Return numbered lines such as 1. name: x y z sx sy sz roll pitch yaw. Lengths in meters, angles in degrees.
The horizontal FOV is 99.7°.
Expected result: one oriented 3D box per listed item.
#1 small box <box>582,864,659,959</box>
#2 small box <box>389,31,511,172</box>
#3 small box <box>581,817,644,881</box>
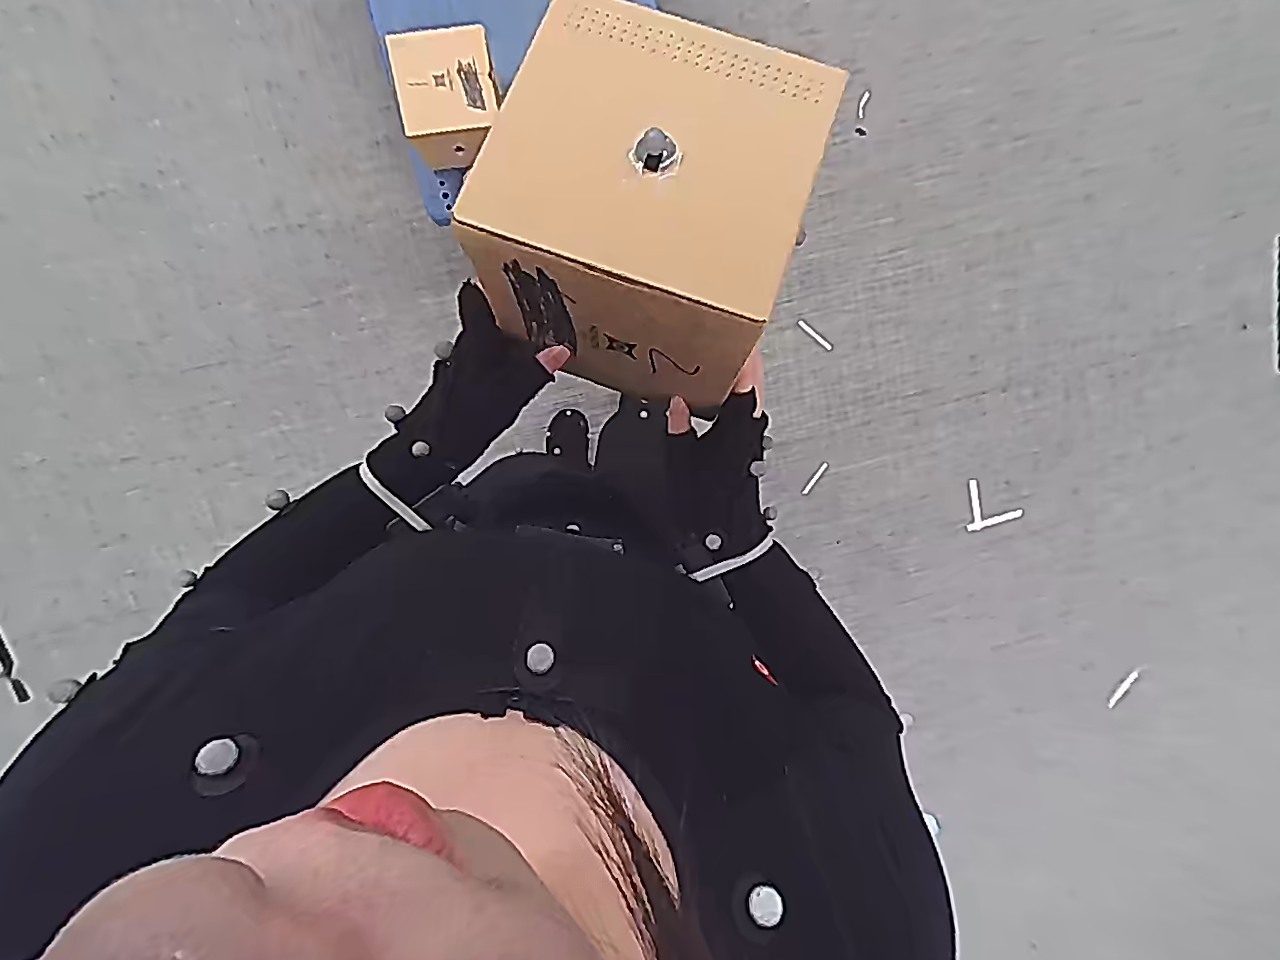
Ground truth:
1. small box: -0.059 1.208 1.490 0.179 0.176 0.168 -16 103 -2
2. small box: -0.353 -0.721 1.047 0.179 0.176 0.168 -9 101 -3
3. small box: -0.081 1.178 1.648 0.168 0.176 0.179 -12 102 -3
